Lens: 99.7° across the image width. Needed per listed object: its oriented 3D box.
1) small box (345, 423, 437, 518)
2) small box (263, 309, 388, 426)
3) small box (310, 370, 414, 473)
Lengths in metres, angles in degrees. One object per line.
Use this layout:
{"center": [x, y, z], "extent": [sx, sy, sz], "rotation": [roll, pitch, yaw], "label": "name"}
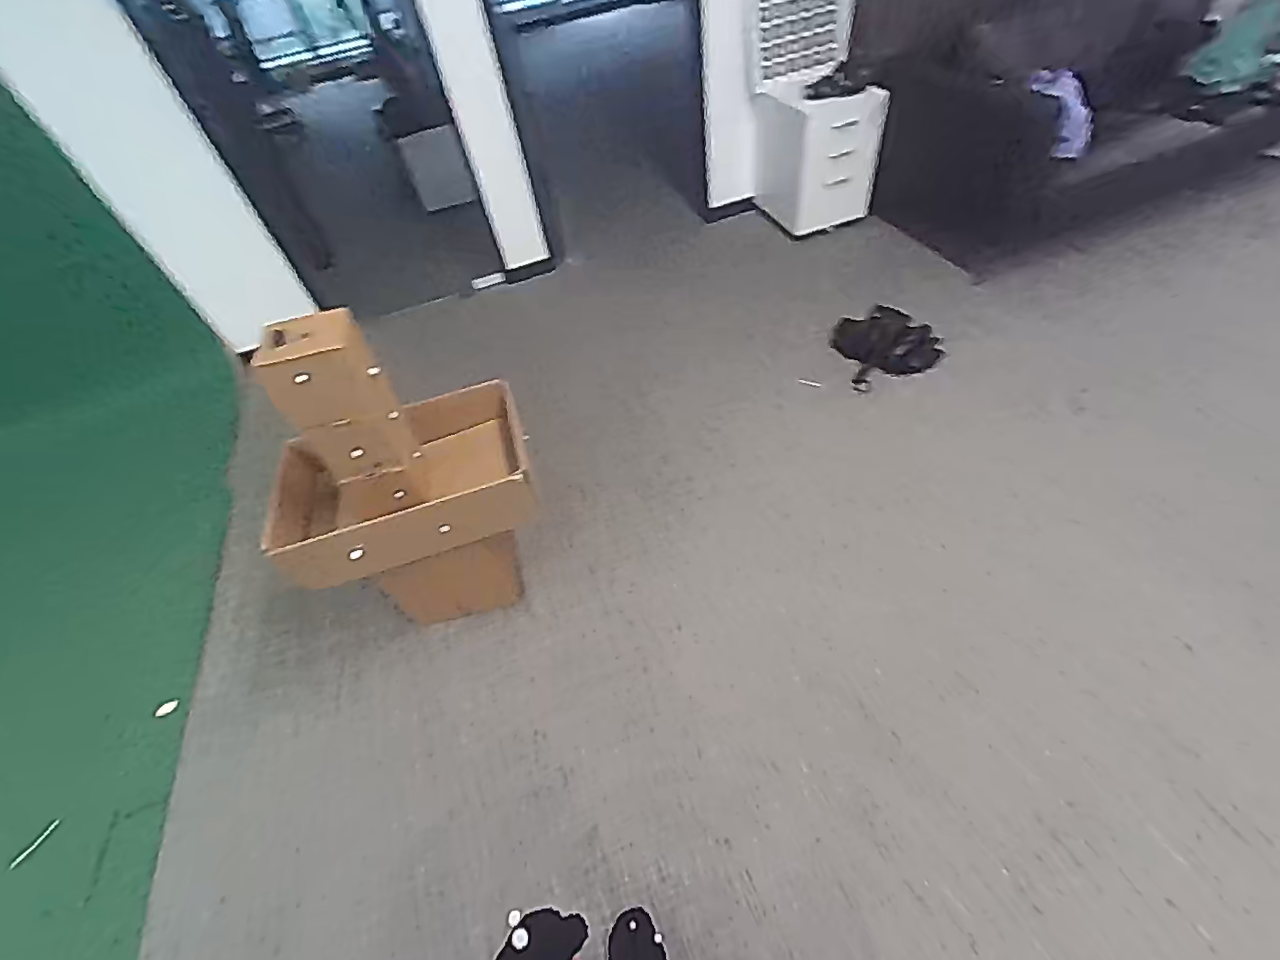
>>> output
{"center": [-0.642, -0.018, 1.419], "extent": [0.168, 0.176, 0.179], "rotation": [-14, 46, -6], "label": "small box"}
{"center": [-0.674, -0.242, 1.180], "extent": [0.179, 0.176, 0.168], "rotation": [-16, 48, -9], "label": "small box"}
{"center": [-0.659, -0.134, 1.305], "extent": [0.168, 0.176, 0.179], "rotation": [-14, 49, -7], "label": "small box"}
